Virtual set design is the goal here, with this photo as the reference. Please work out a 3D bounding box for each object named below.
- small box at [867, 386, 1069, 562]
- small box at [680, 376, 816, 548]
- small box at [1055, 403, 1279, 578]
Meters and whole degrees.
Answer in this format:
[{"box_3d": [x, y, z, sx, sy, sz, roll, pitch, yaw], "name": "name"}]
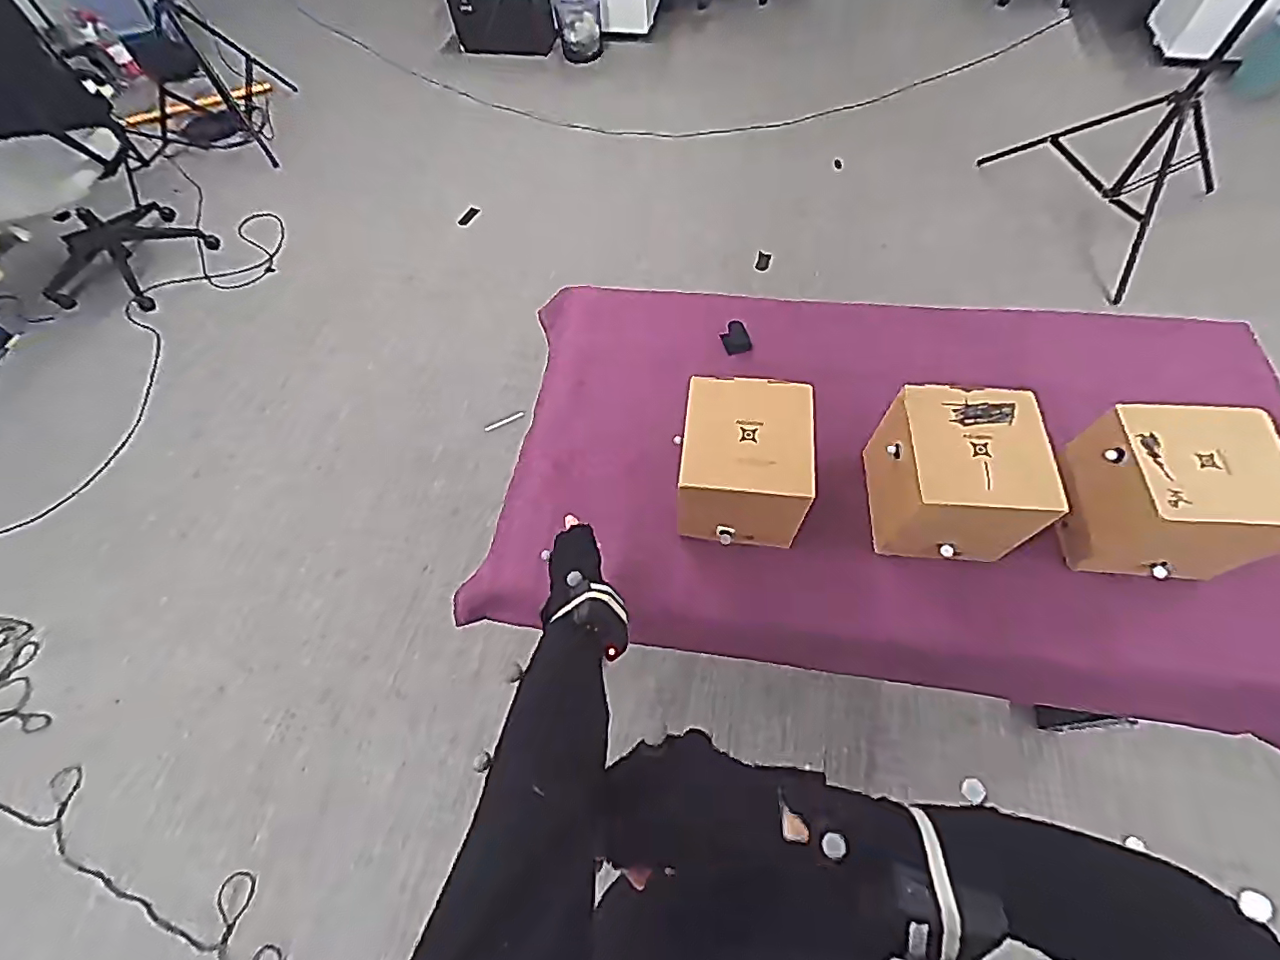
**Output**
[{"box_3d": [0.422, -0.005, 0.734, 0.168, 0.176, 0.179, 3, 61, 5], "name": "small box"}, {"box_3d": [0.145, -0.022, 0.760, 0.168, 0.176, 0.179, 4, 61, 7], "name": "small box"}, {"box_3d": [0.683, 0.020, 0.707, 0.179, 0.176, 0.168, 4, 61, 5], "name": "small box"}]
